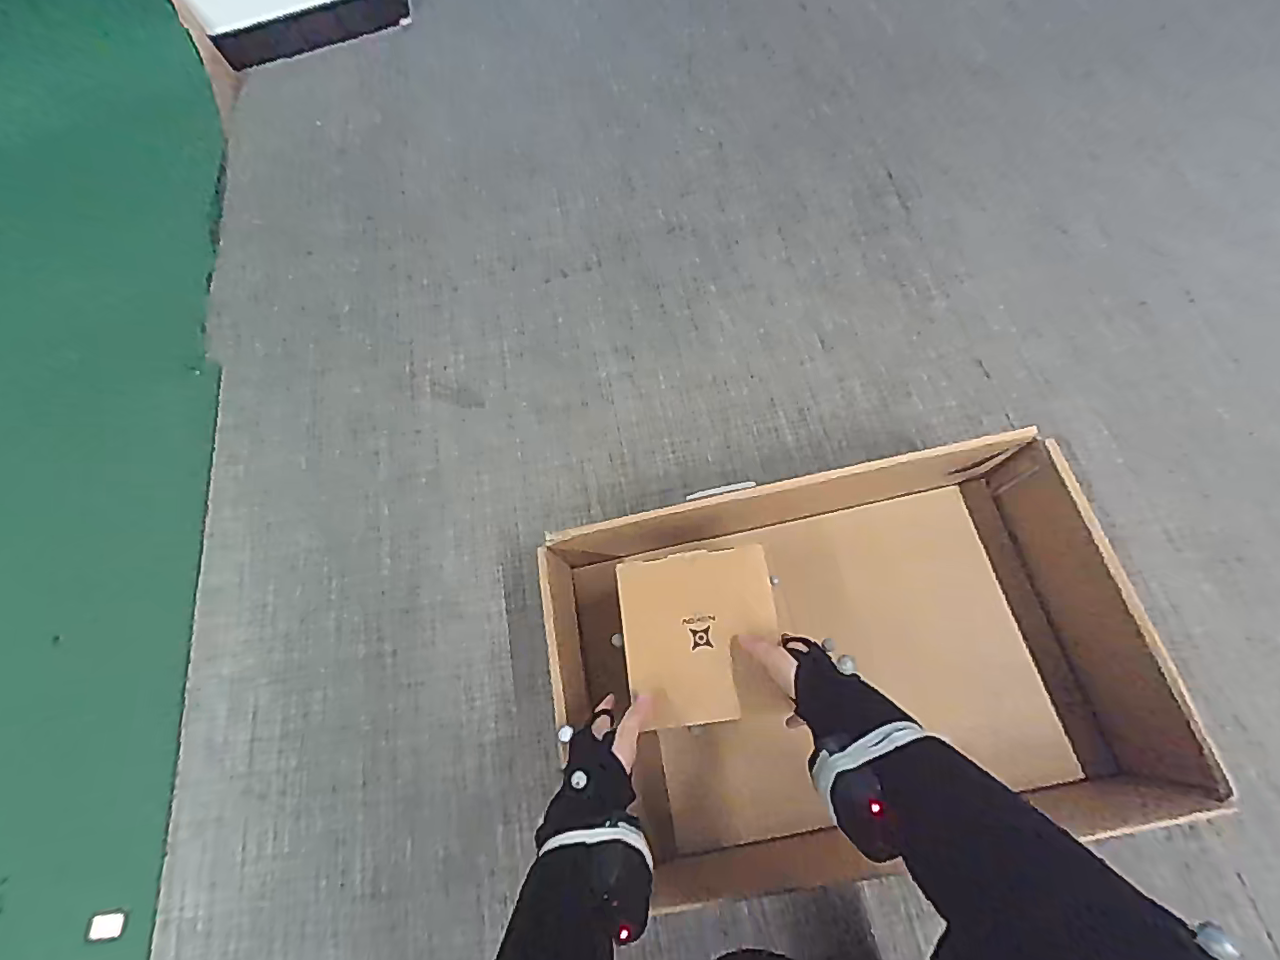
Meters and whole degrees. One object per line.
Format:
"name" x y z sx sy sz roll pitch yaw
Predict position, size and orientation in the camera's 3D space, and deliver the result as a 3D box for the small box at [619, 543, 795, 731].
"small box" 0.077 0.186 0.647 0.168 0.176 0.179 -10 71 4
